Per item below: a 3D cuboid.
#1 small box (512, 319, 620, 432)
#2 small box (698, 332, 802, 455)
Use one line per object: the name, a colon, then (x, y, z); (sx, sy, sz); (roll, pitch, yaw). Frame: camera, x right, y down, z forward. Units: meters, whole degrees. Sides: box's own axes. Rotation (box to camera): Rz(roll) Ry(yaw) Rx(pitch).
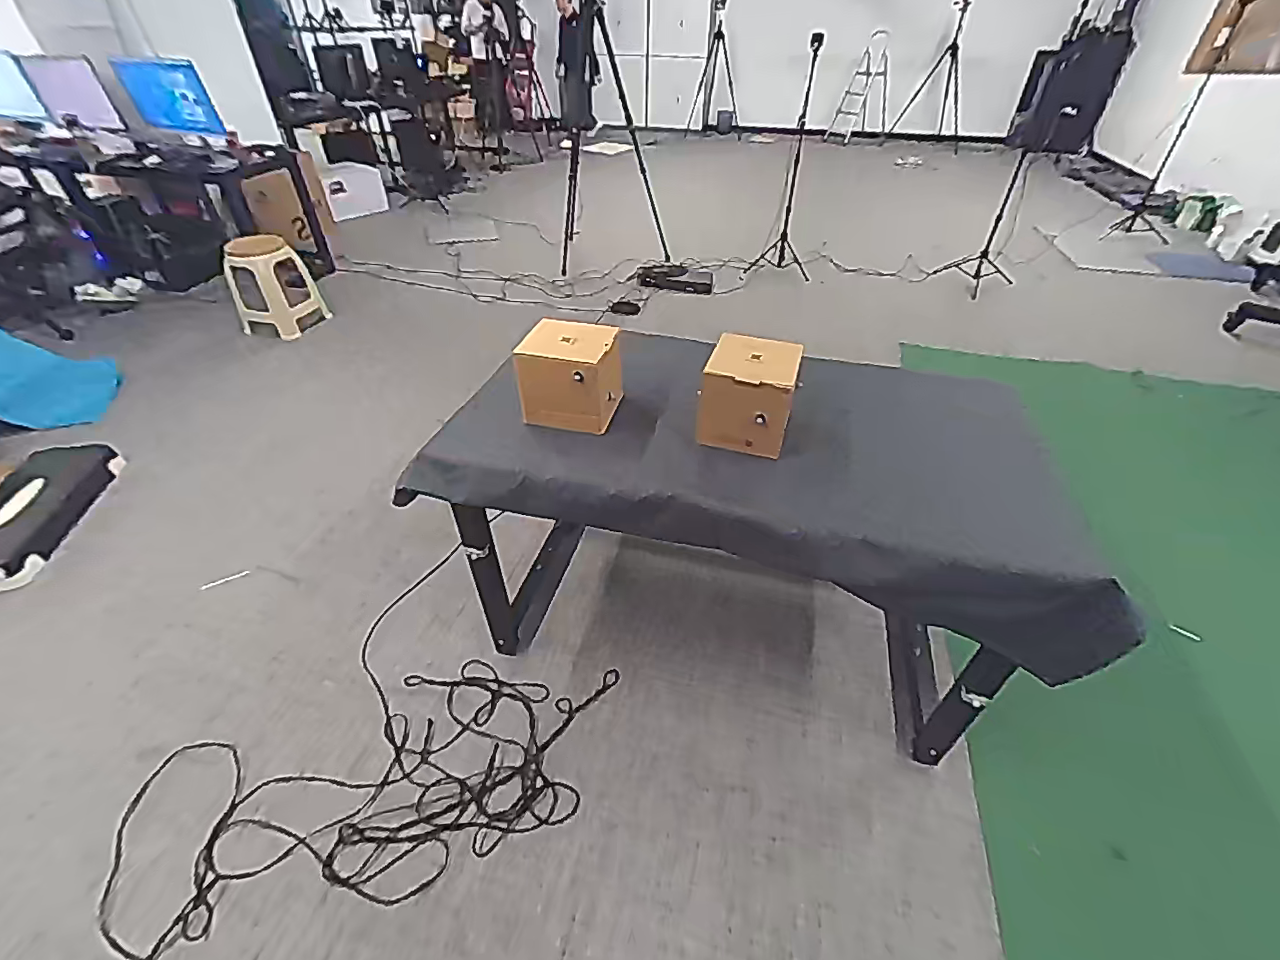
small box: (-0.146, -0.218, 1.130); (0.179, 0.176, 0.168); (9, 41, 9)
small box: (0.215, -0.172, 1.079); (0.168, 0.176, 0.179); (13, 41, 13)
